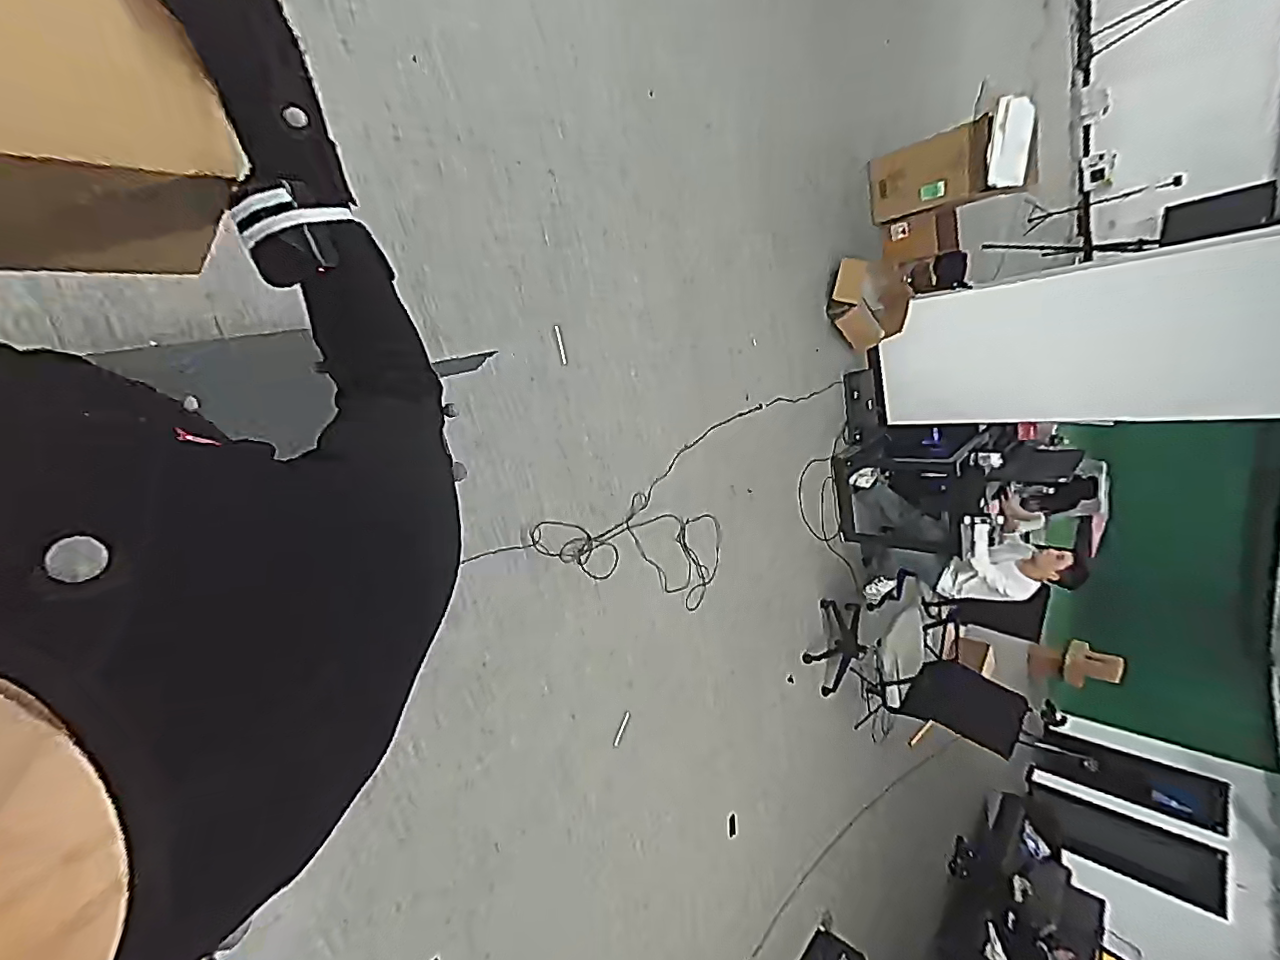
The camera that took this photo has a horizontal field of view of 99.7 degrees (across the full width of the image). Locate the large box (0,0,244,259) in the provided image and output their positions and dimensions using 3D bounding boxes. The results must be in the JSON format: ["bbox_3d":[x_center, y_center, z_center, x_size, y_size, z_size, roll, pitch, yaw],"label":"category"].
[{"bbox_3d":[-0.550,-0.340,0.340,0.408,0.320,0.320,-17,106,-42],"label":"large box"}]

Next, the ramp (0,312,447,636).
[{"bbox_3d":[-0.949,-0.108,1.293,0.991,0.206,0.509,-28,110,-39],"label":"ramp"}]
